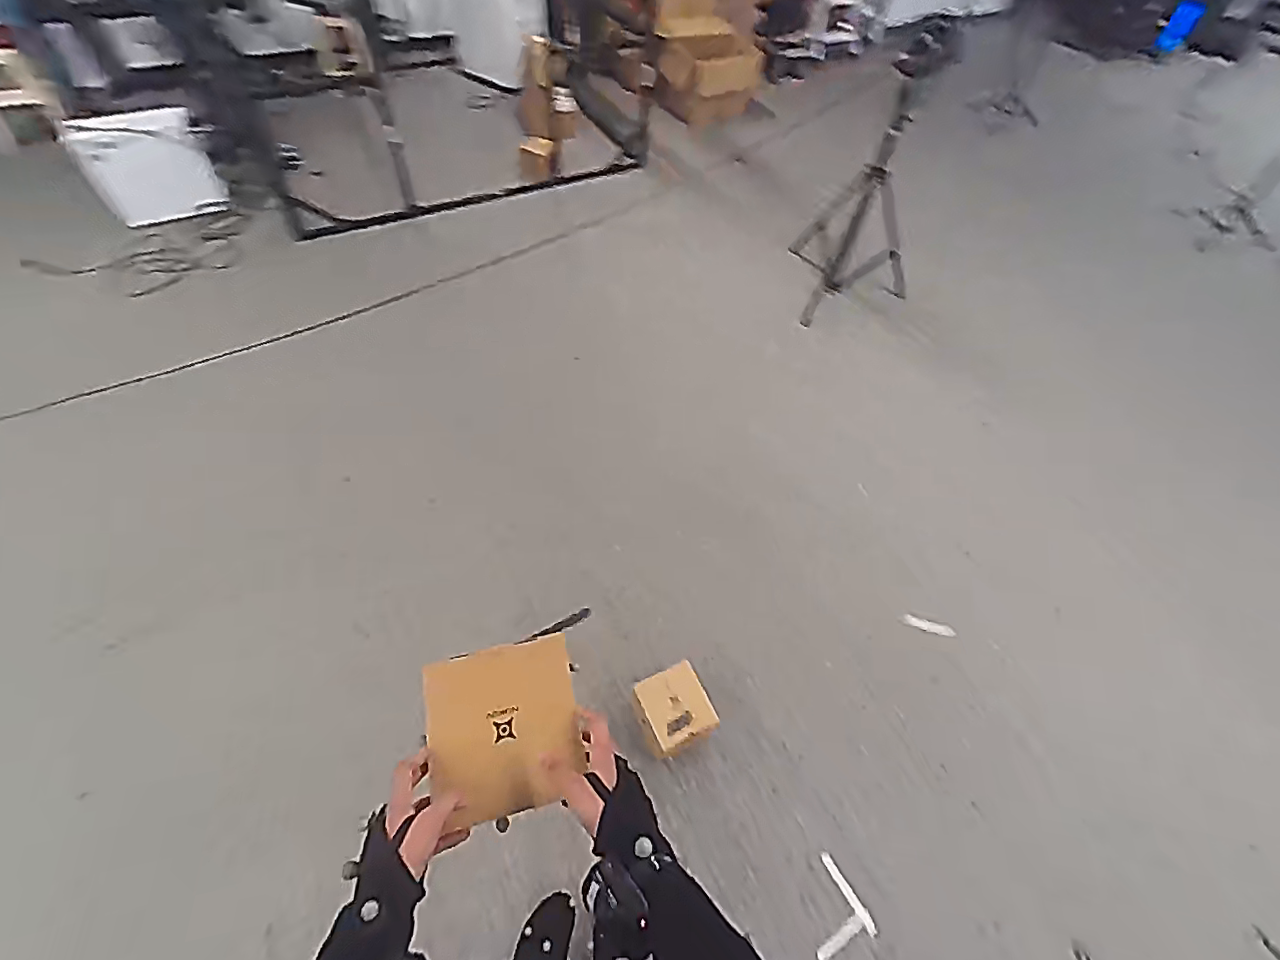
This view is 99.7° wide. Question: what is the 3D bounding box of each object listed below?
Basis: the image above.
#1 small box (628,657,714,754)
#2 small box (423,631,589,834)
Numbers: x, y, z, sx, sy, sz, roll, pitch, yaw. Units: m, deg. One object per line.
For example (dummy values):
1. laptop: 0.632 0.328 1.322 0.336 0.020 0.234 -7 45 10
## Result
1. small box: 0.076 0.609 1.447 0.168 0.176 0.179 -20 58 -18
2. small box: -0.157 0.305 0.663 0.168 0.176 0.179 -10 62 -12
